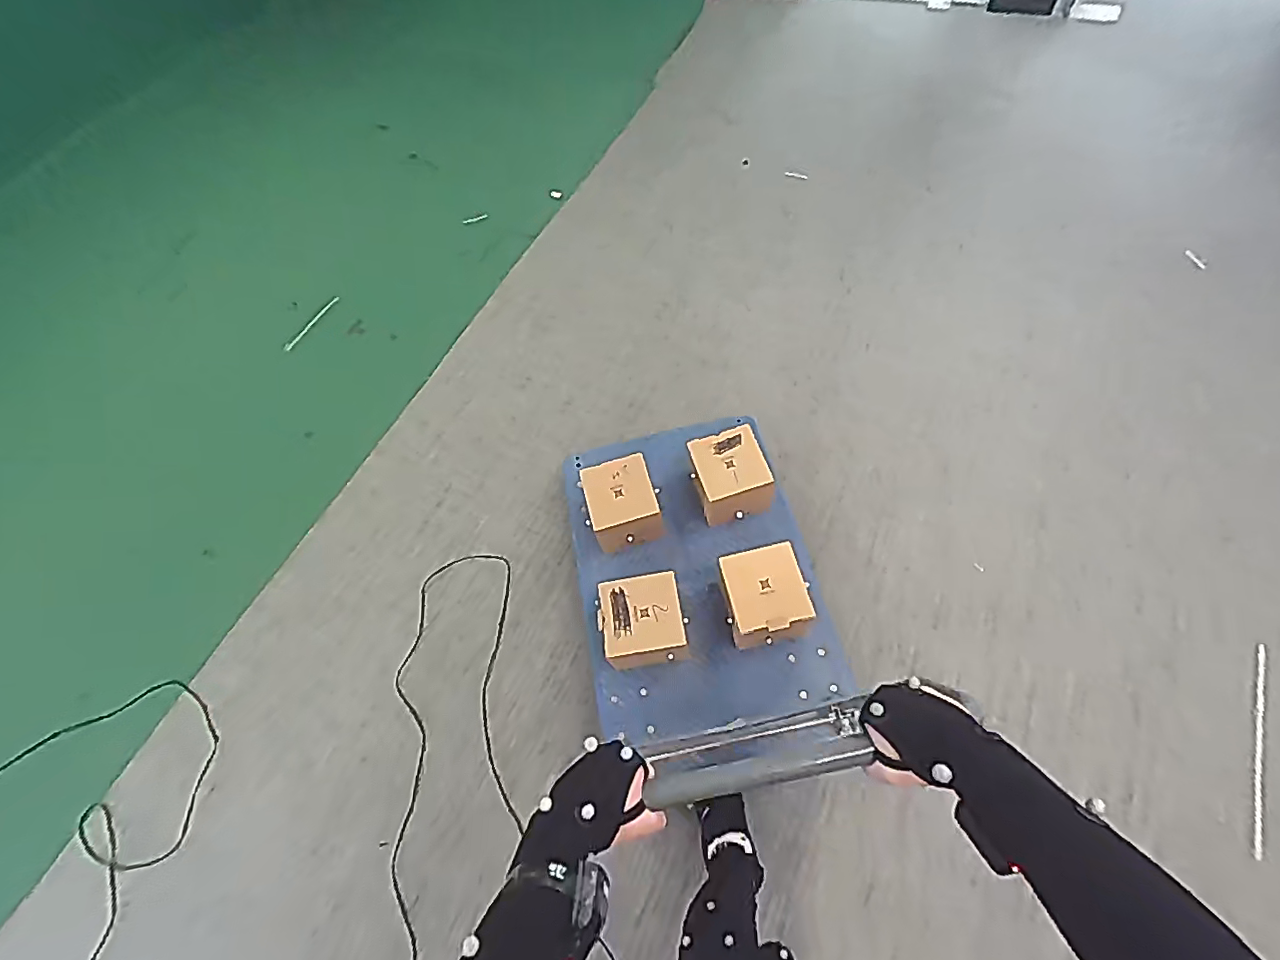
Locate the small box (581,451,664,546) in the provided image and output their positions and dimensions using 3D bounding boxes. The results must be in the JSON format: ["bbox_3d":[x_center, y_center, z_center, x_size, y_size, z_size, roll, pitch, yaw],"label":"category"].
[{"bbox_3d":[-0.040,0.056,1.384,0.168,0.176,0.179,-15,62,-2],"label":"small box"}]

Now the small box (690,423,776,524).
[{"bbox_3d":[0.231,-0.013,1.385,0.168,0.176,0.179,-17,63,-1],"label":"small box"}]

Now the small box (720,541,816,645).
[{"bbox_3d":[0.283,0.262,1.238,0.168,0.176,0.179,-13,62,1],"label":"small box"}]
